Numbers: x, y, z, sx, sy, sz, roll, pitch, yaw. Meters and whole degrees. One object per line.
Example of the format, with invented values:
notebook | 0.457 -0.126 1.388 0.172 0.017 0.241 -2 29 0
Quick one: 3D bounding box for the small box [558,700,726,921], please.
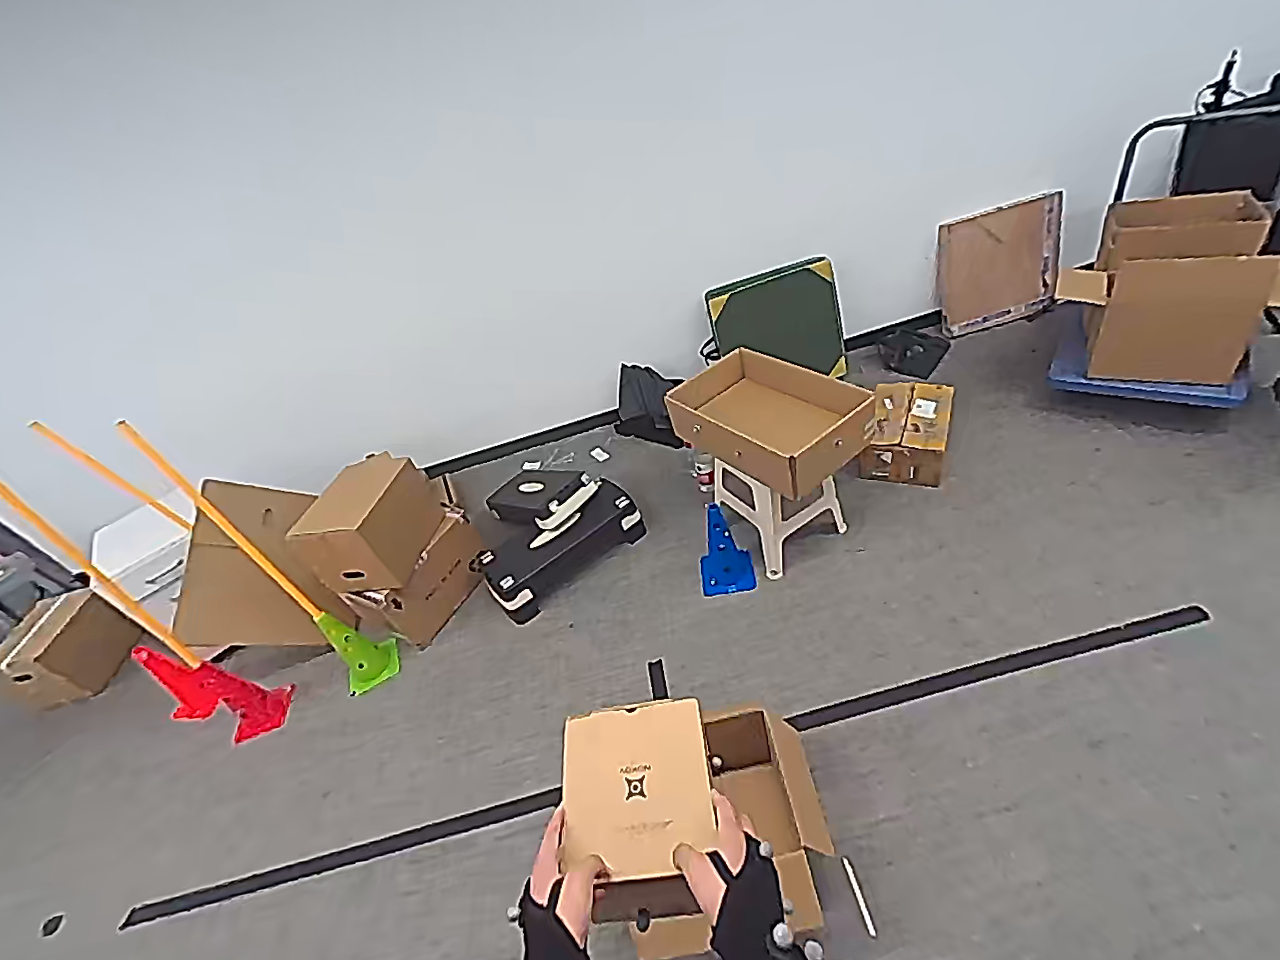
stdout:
small box | 0.007 0.395 0.650 0.168 0.176 0.179 -9 40 4
